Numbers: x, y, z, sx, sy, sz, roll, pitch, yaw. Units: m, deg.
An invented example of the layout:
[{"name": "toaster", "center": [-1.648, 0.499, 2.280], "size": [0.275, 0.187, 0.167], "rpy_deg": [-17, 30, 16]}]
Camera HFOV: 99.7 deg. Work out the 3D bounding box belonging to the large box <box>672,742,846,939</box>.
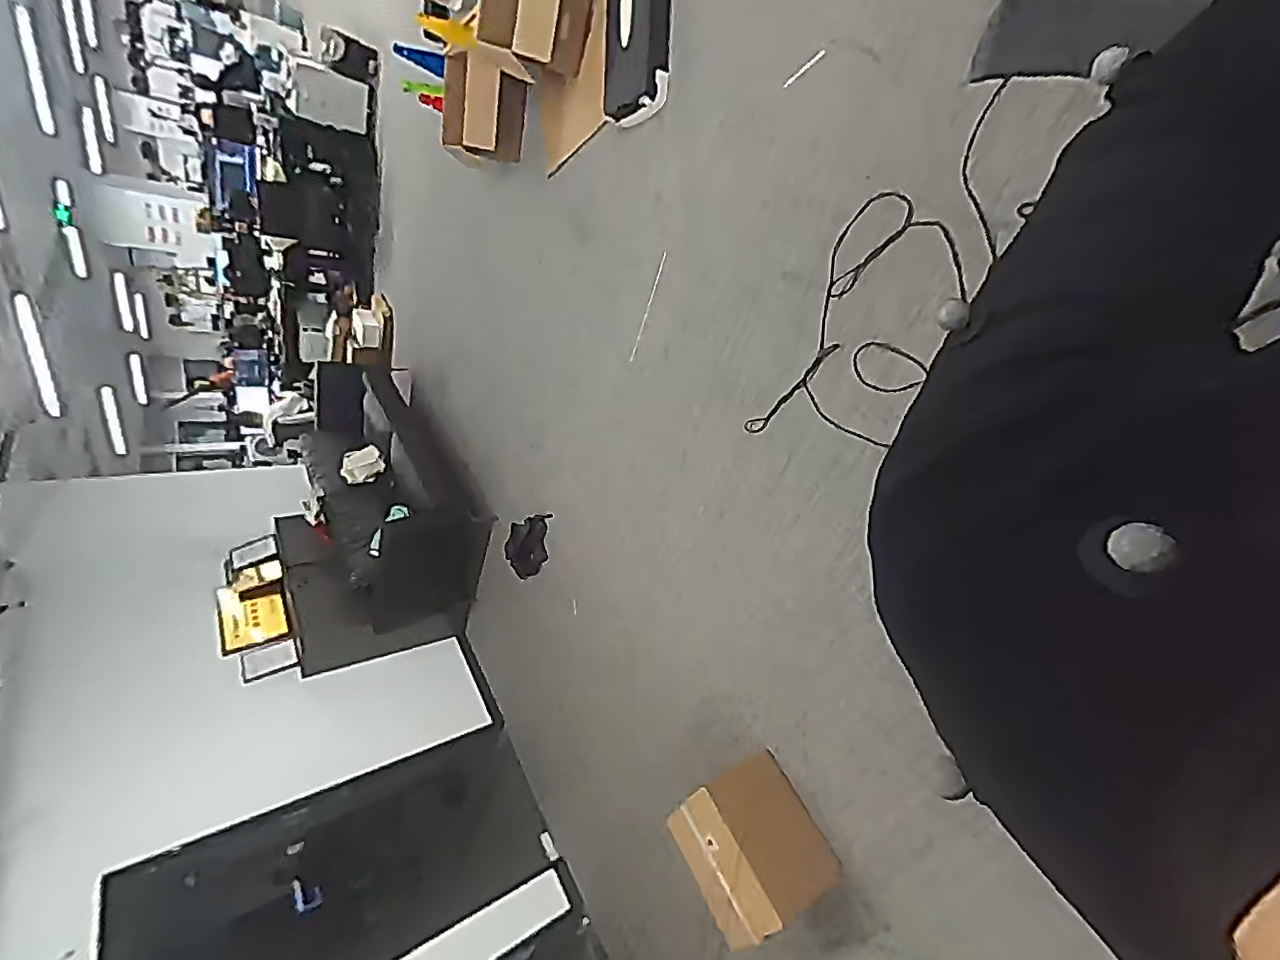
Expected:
[{"name": "large box", "center": [0.380, 1.168, 1.781], "size": [0.408, 0.320, 0.320], "rpy_deg": [54, 134, 33]}]
